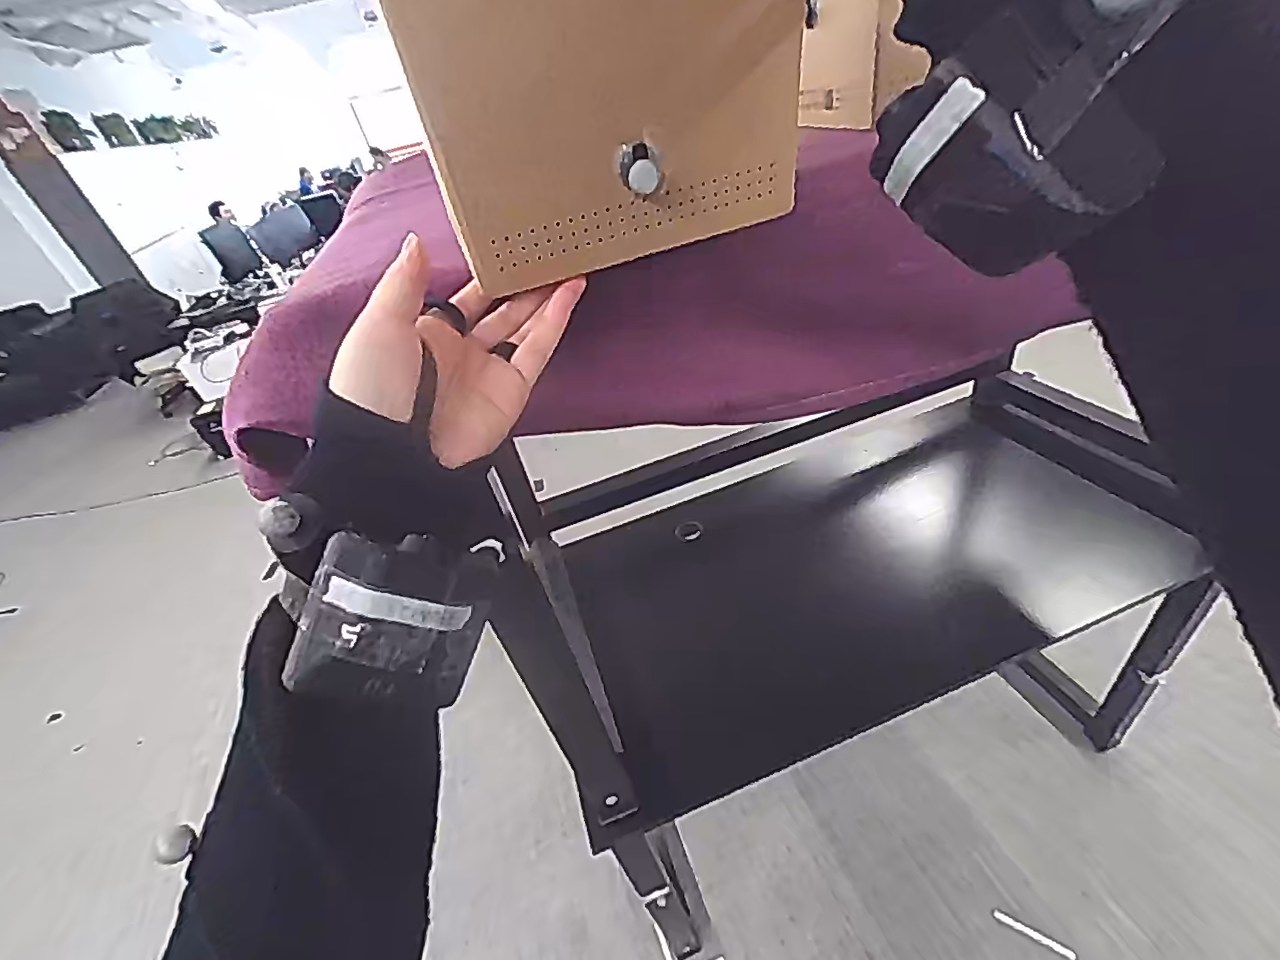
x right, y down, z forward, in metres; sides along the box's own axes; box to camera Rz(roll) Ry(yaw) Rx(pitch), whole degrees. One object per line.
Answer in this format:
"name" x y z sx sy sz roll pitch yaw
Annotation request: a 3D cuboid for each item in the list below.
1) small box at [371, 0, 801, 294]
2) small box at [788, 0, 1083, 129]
"small box" -0.034 -0.221 0.274 0.179 0.176 0.168 -20 45 -10
"small box" 0.215 -0.387 0.418 0.179 0.176 0.168 -18 37 -5
